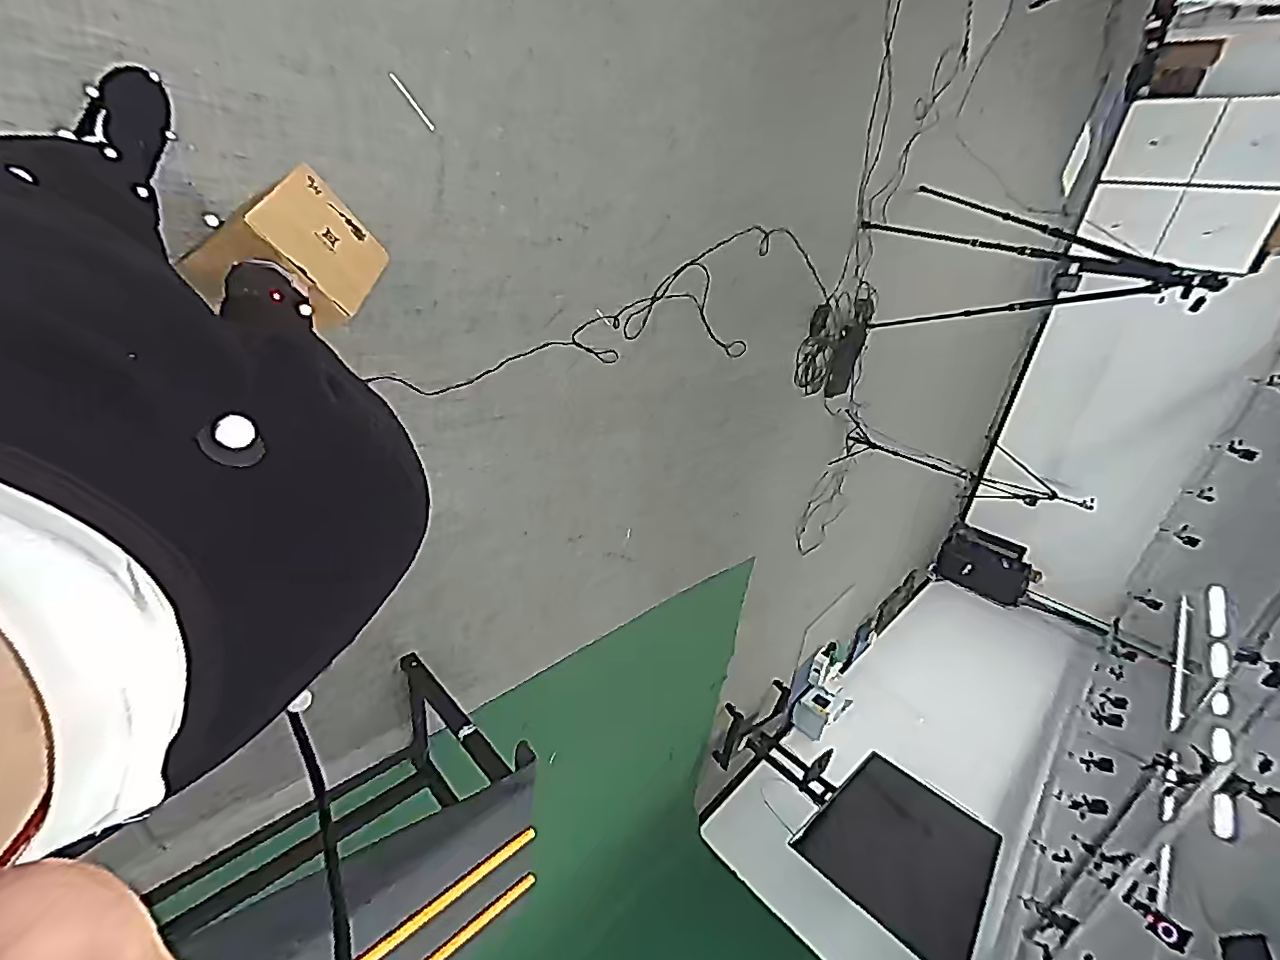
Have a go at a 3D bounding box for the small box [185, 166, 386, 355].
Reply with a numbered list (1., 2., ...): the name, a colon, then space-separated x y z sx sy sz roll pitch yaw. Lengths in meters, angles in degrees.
1. small box: -0.529 -0.320 0.814 0.168 0.176 0.179 48 33 -43
